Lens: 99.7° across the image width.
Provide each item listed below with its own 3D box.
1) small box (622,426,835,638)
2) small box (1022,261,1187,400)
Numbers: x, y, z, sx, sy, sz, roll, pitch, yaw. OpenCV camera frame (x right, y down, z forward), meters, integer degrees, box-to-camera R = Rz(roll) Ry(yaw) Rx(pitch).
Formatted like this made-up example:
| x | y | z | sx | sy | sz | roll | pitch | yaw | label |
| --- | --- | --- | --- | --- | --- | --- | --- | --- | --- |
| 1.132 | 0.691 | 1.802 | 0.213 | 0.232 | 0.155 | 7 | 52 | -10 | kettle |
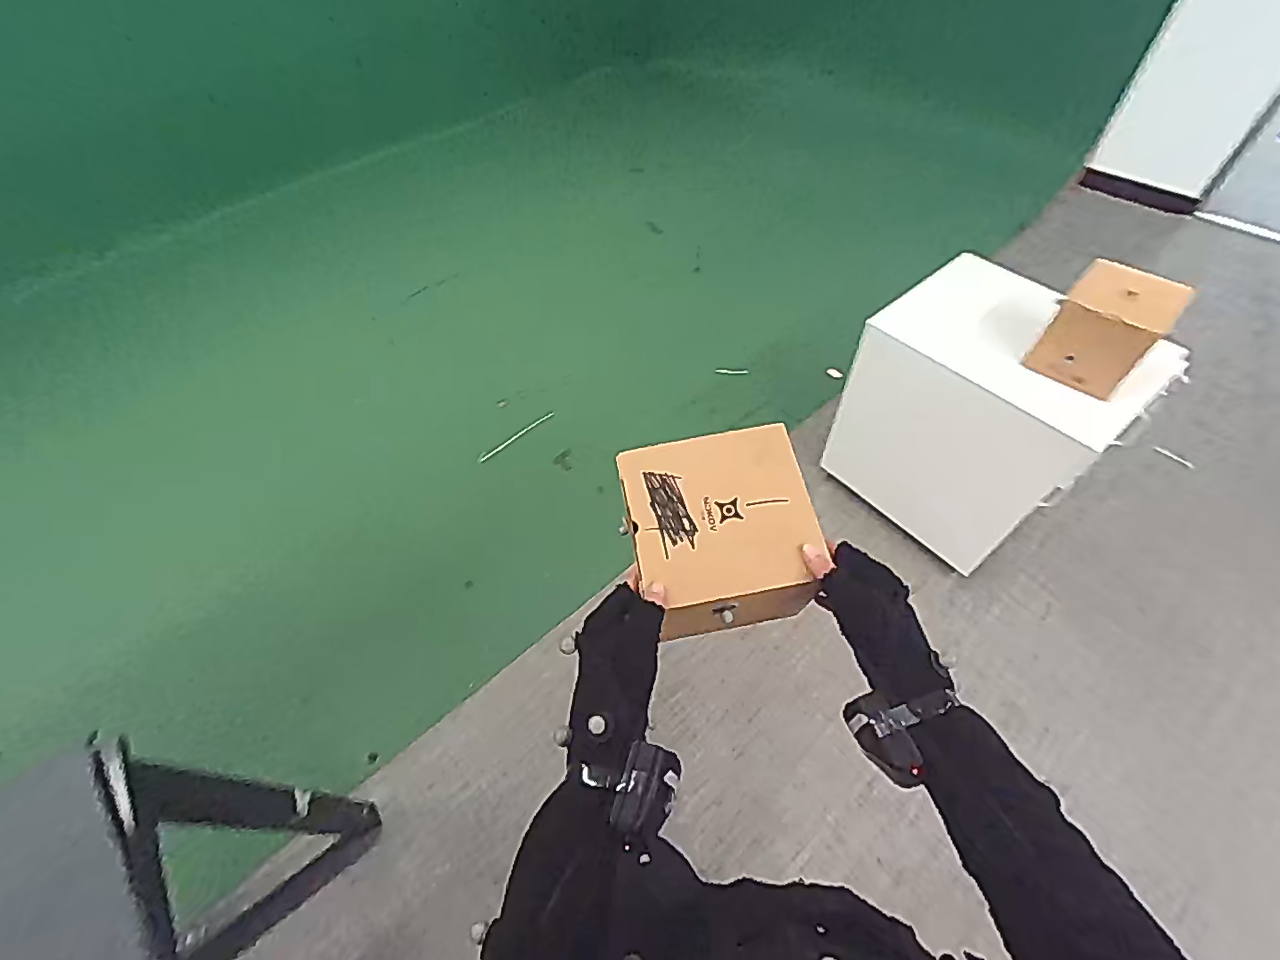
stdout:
| x | y | z | sx | sy | sz | roll | pitch | yaw | label |
| --- | --- | --- | --- | --- | --- | --- | --- | --- | --- |
| 0.084 | 0.065 | 0.588 | 0.179 | 0.176 | 0.168 | -9 | 64 | -2 | small box |
| 0.907 | -0.294 | 1.073 | 0.168 | 0.176 | 0.179 | 37 | 65 | 27 | small box |
